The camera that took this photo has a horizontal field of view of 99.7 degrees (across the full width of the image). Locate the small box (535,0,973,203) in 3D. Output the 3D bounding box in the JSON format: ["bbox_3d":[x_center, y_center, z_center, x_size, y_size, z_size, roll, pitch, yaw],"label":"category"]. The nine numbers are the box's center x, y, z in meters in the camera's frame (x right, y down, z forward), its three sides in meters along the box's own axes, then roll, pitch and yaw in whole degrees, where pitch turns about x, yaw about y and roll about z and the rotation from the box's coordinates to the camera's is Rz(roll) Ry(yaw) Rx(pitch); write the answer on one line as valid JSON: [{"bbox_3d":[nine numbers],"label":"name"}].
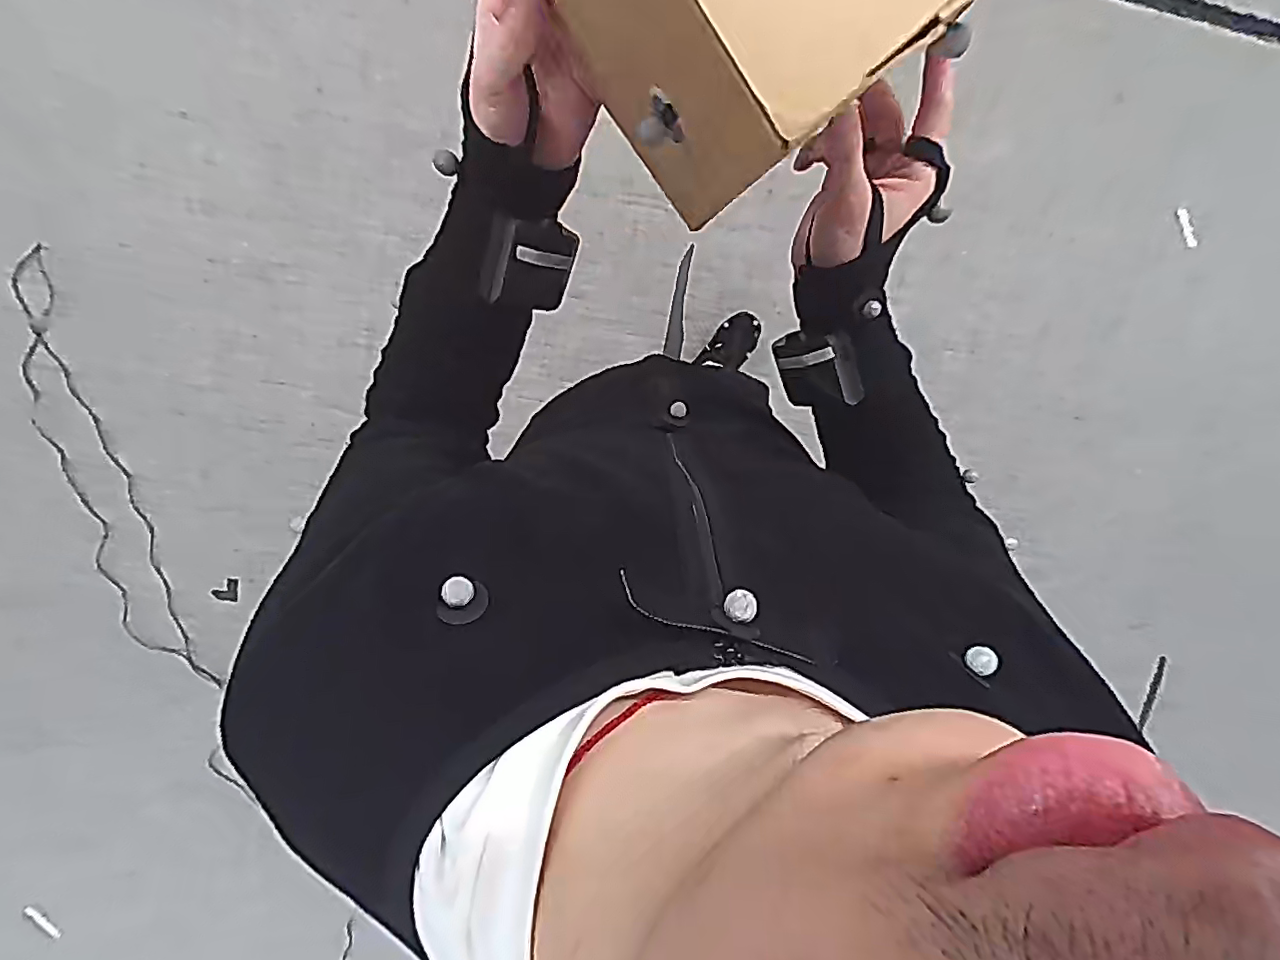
[{"bbox_3d":[0.051,-0.247,0.228,0.168,0.176,0.179,-40,106,6],"label":"small box"}]
